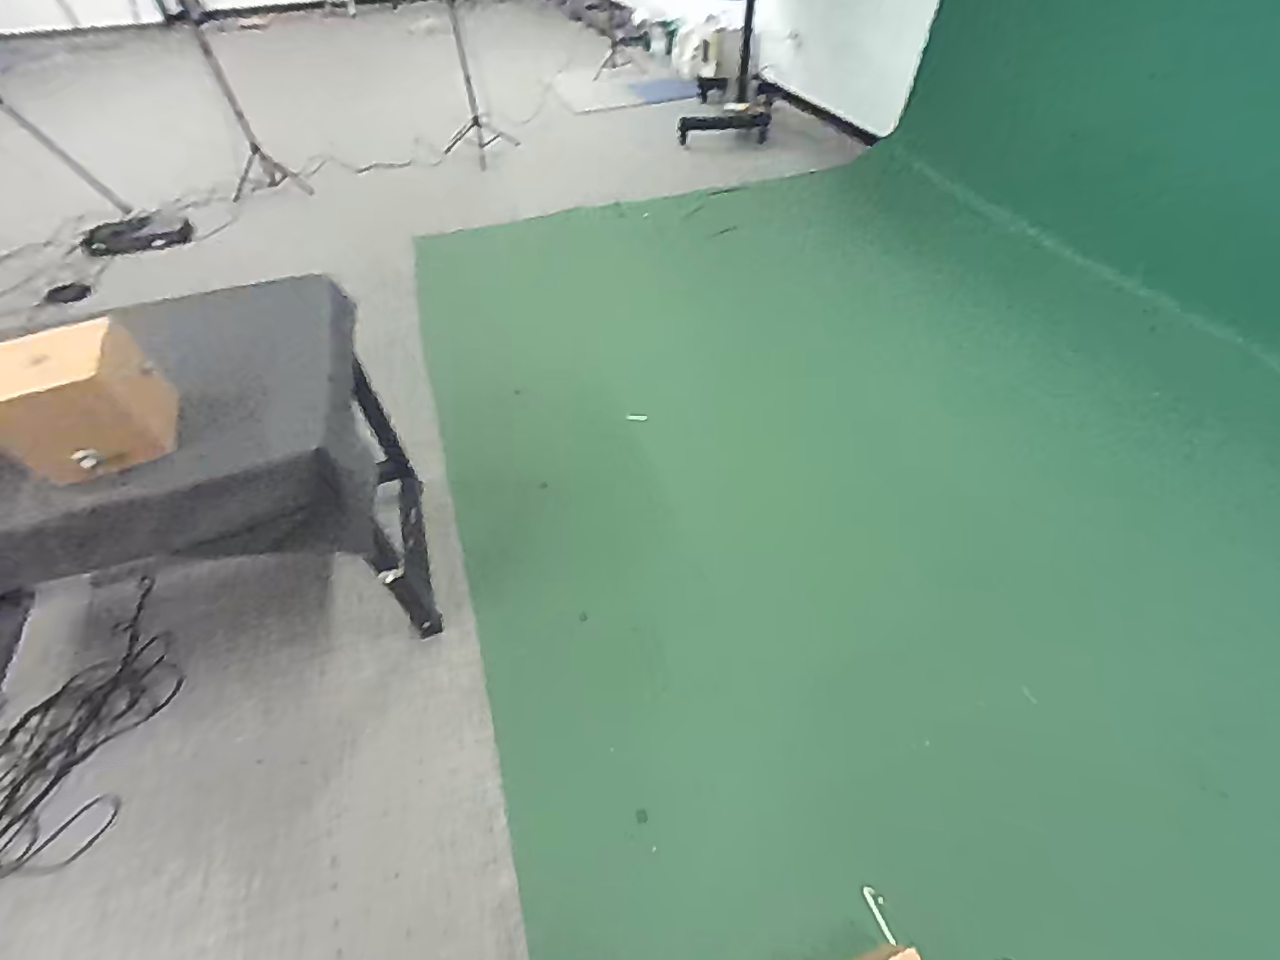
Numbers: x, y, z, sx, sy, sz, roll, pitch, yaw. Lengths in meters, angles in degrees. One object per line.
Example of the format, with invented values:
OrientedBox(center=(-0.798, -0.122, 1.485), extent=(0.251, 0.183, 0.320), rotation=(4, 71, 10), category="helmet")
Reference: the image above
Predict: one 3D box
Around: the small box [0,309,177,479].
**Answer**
OrientedBox(center=(-0.874, -0.134, 0.849), extent=(0.168, 0.176, 0.179), rotation=(-22, 54, -16), category="small box")
